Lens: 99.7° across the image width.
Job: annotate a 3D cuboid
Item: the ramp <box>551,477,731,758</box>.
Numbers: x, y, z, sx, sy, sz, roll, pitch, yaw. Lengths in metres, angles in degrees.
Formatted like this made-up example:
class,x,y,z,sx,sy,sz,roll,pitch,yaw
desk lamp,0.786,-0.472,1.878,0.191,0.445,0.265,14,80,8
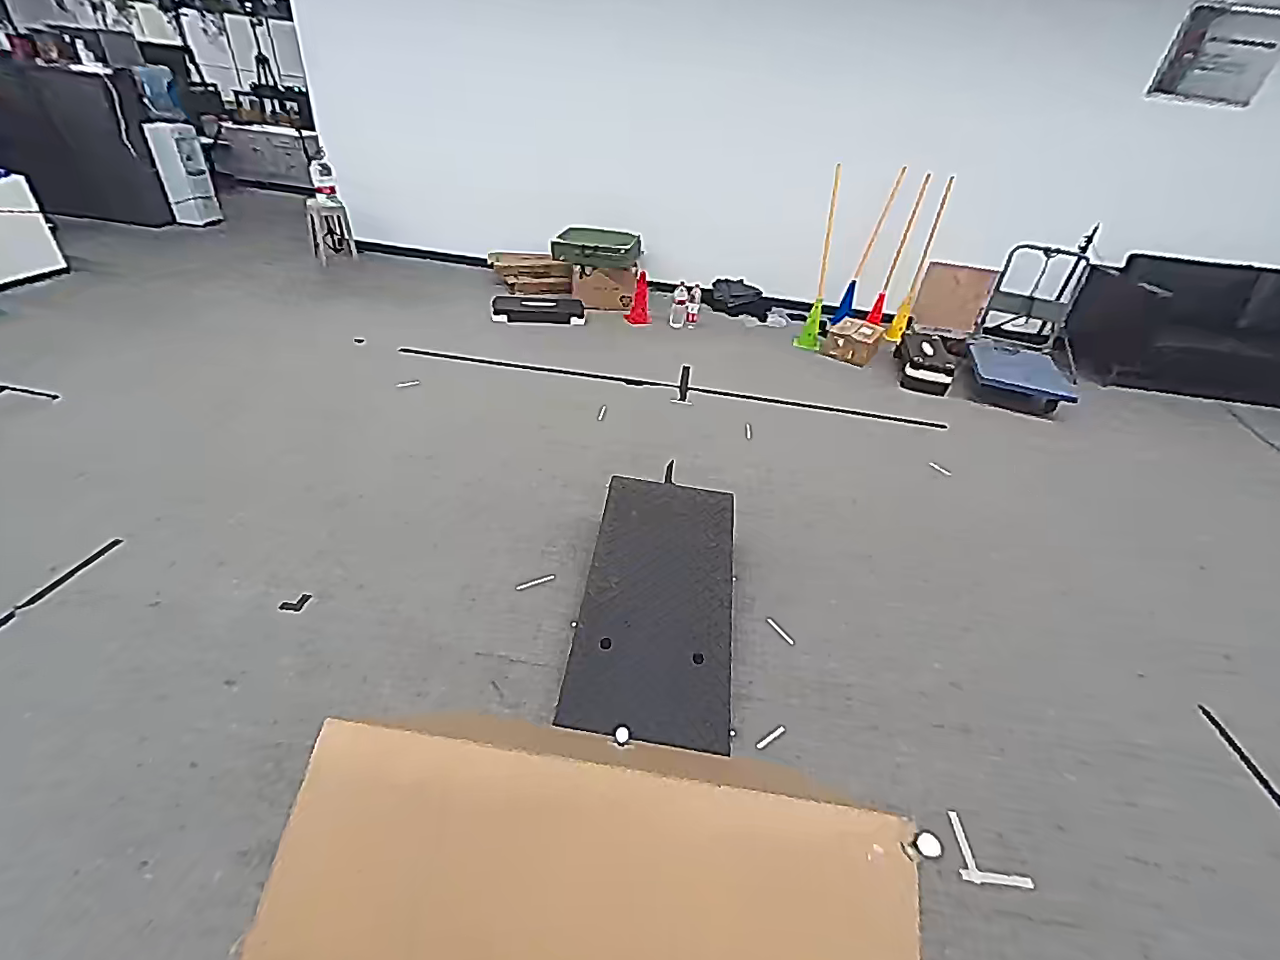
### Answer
class,x,y,z,sx,sy,sz,roll,pitch,yaw
ramp,0.057,0.382,1.805,0.509,0.206,0.991,9,36,0

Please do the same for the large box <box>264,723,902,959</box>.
class,x,y,z,sx,sy,sz,roll,pitch,yaw
large box,-0.044,0.399,0.457,0.408,0.320,0.320,7,69,3
